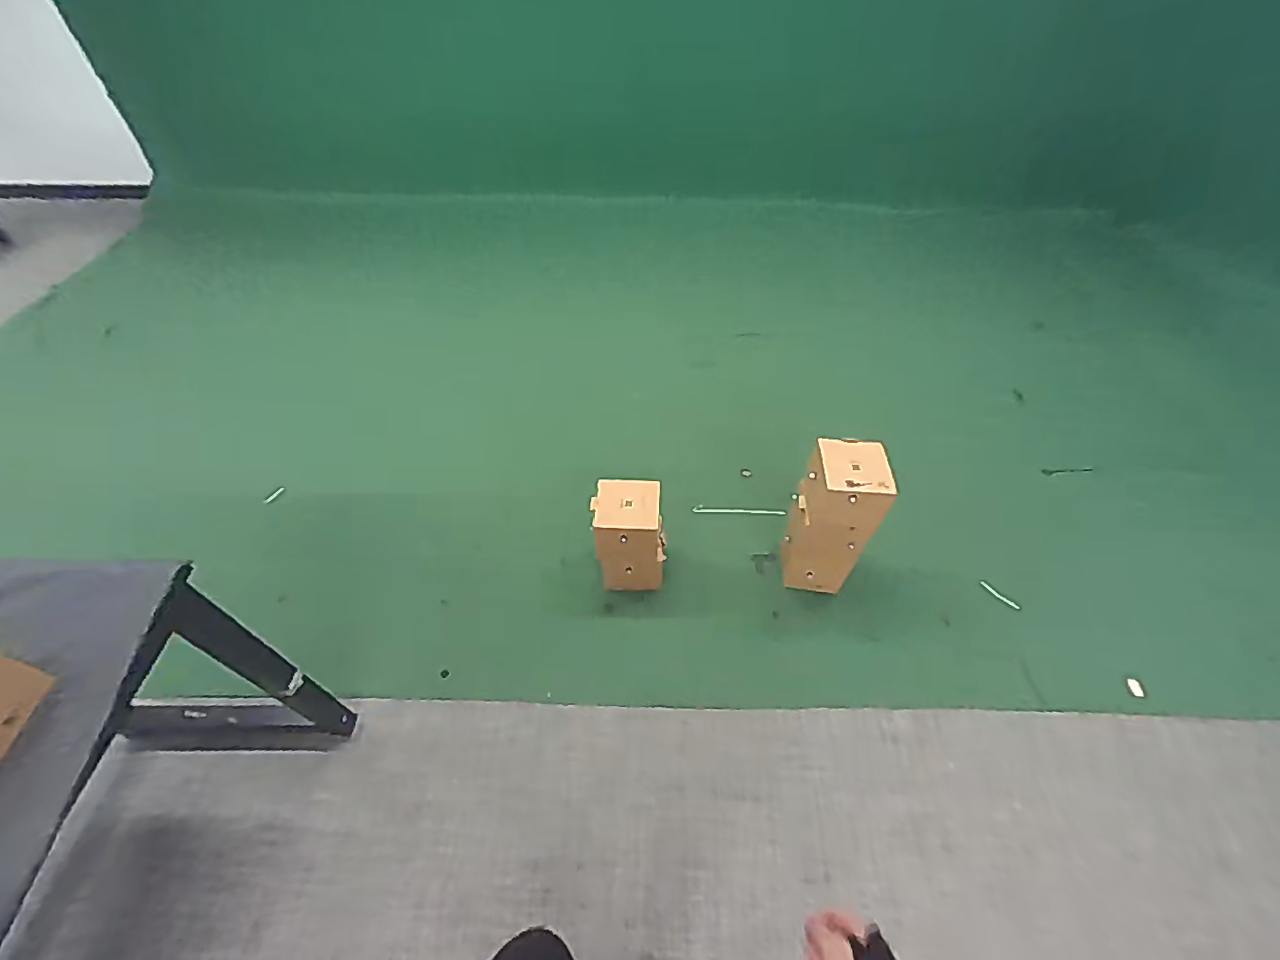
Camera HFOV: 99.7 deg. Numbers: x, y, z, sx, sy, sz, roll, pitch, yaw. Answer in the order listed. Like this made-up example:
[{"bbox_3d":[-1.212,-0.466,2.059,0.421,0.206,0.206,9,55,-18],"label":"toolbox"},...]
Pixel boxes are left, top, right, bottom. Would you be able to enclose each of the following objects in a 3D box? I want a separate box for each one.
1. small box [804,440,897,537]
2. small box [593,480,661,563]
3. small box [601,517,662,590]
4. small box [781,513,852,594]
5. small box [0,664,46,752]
[{"bbox_3d":[0.531,0.022,1.392,0.168,0.176,0.179,5,49,1],"label":"small box"},{"bbox_3d":[-0.032,0.119,1.515,0.179,0.176,0.168,3,51,1],"label":"small box"},{"bbox_3d":[-0.022,0.223,1.639,0.179,0.176,0.168,1,51,0],"label":"small box"},{"bbox_3d":[0.532,0.227,1.649,0.168,0.176,0.179,7,50,5],"label":"small box"},{"bbox_3d":[-0.871,0.283,0.614,0.179,0.176,0.168,-1,50,2],"label":"small box"}]
